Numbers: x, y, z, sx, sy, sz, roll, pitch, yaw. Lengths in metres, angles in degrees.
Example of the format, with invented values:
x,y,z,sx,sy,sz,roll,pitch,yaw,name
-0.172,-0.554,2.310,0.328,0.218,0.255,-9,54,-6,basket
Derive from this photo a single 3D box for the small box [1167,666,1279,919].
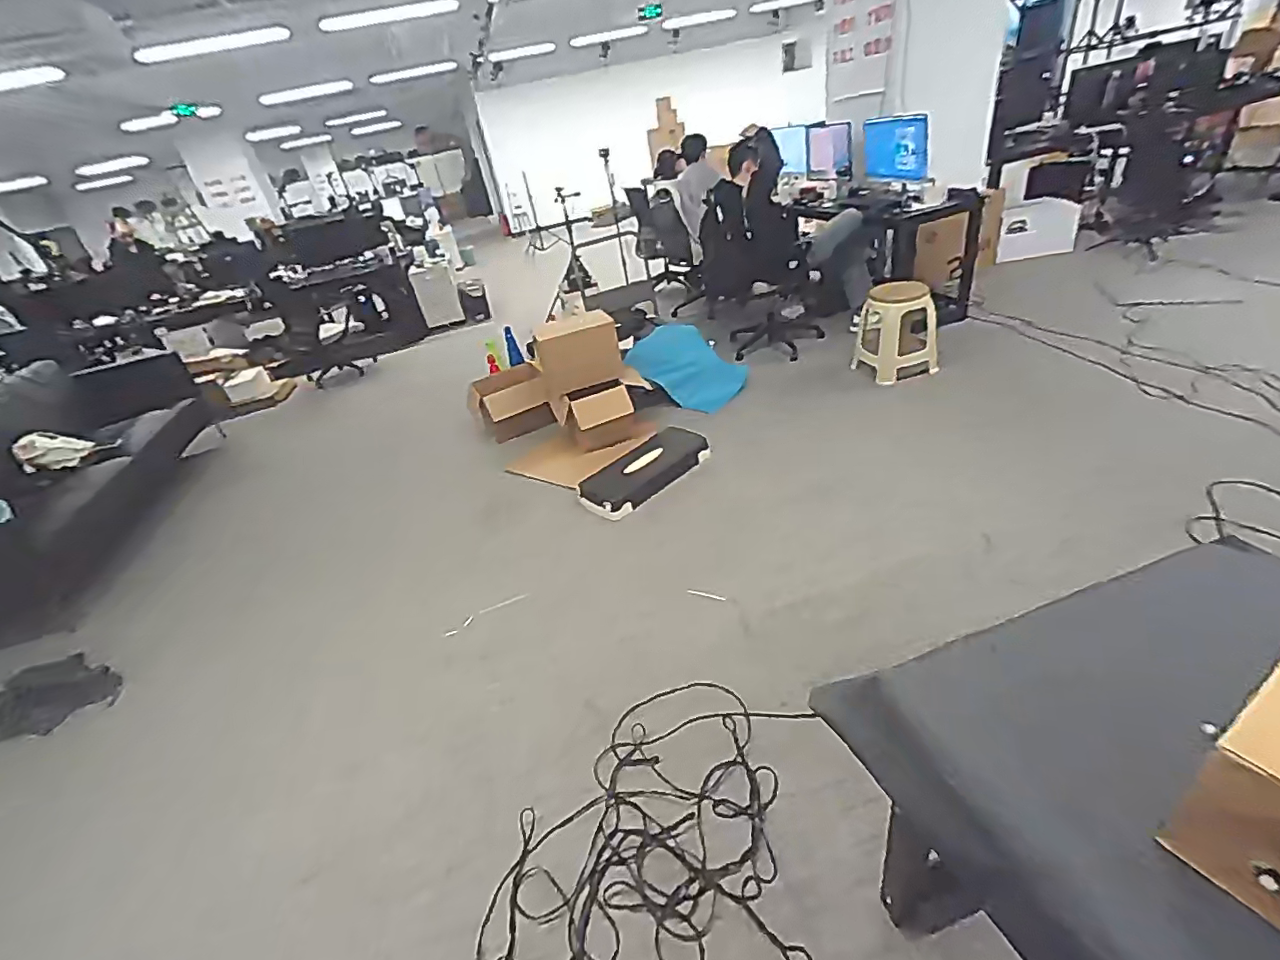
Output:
x,y,z,sx,sy,sz,roll,pitch,yaw,name
0.620,0.283,0.472,0.179,0.176,0.168,-27,36,-21,small box
